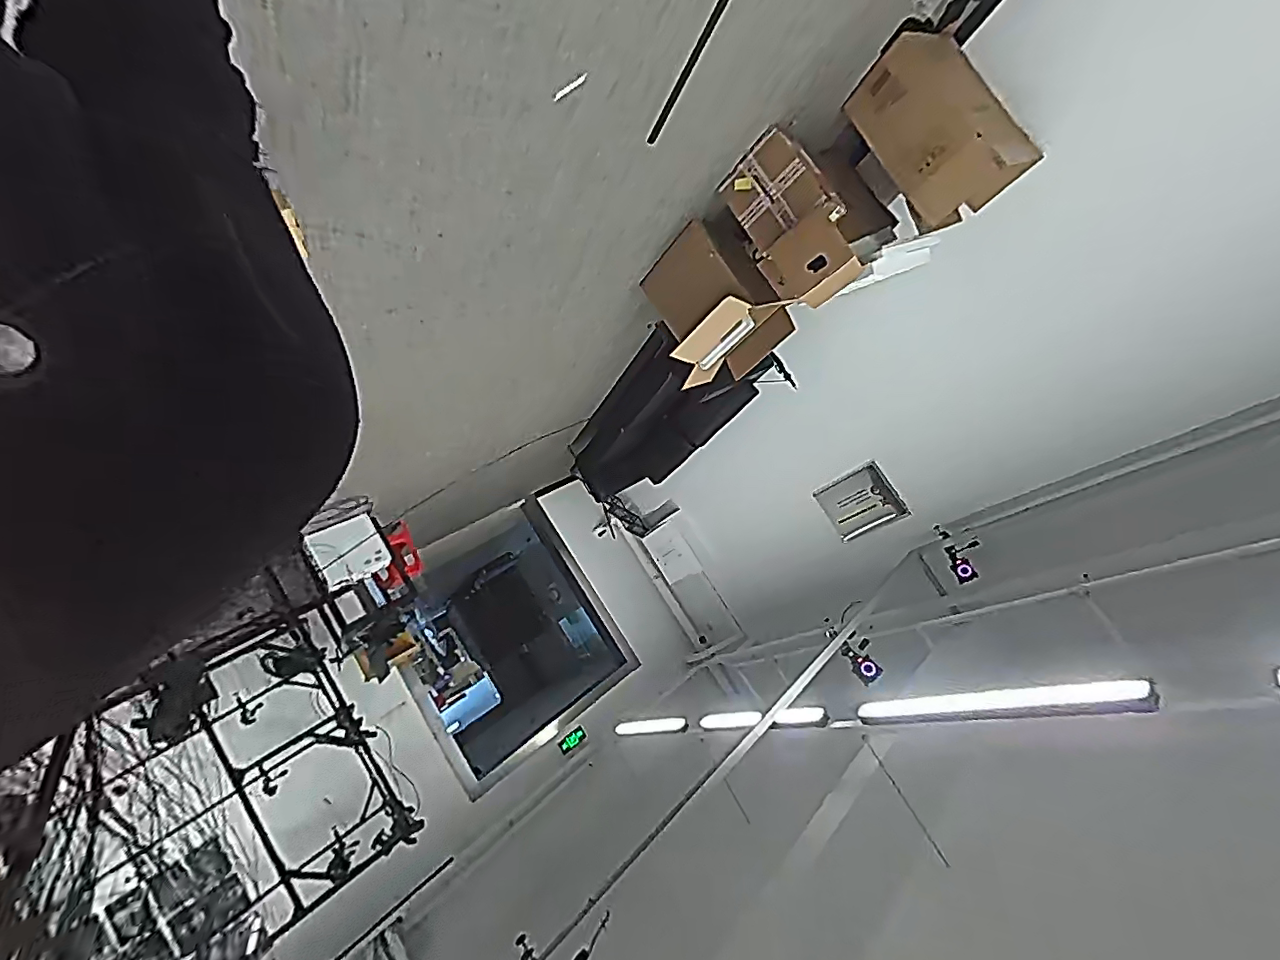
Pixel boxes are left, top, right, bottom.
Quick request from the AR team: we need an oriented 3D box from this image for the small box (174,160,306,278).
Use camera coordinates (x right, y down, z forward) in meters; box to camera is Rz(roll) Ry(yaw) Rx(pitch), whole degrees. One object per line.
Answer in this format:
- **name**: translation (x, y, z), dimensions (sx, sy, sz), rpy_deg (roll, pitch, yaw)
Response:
- **small box**: translation (-0.934, -0.616, 1.273), dimensions (0.179, 0.176, 0.168), rpy_deg (-30, 171, -25)
